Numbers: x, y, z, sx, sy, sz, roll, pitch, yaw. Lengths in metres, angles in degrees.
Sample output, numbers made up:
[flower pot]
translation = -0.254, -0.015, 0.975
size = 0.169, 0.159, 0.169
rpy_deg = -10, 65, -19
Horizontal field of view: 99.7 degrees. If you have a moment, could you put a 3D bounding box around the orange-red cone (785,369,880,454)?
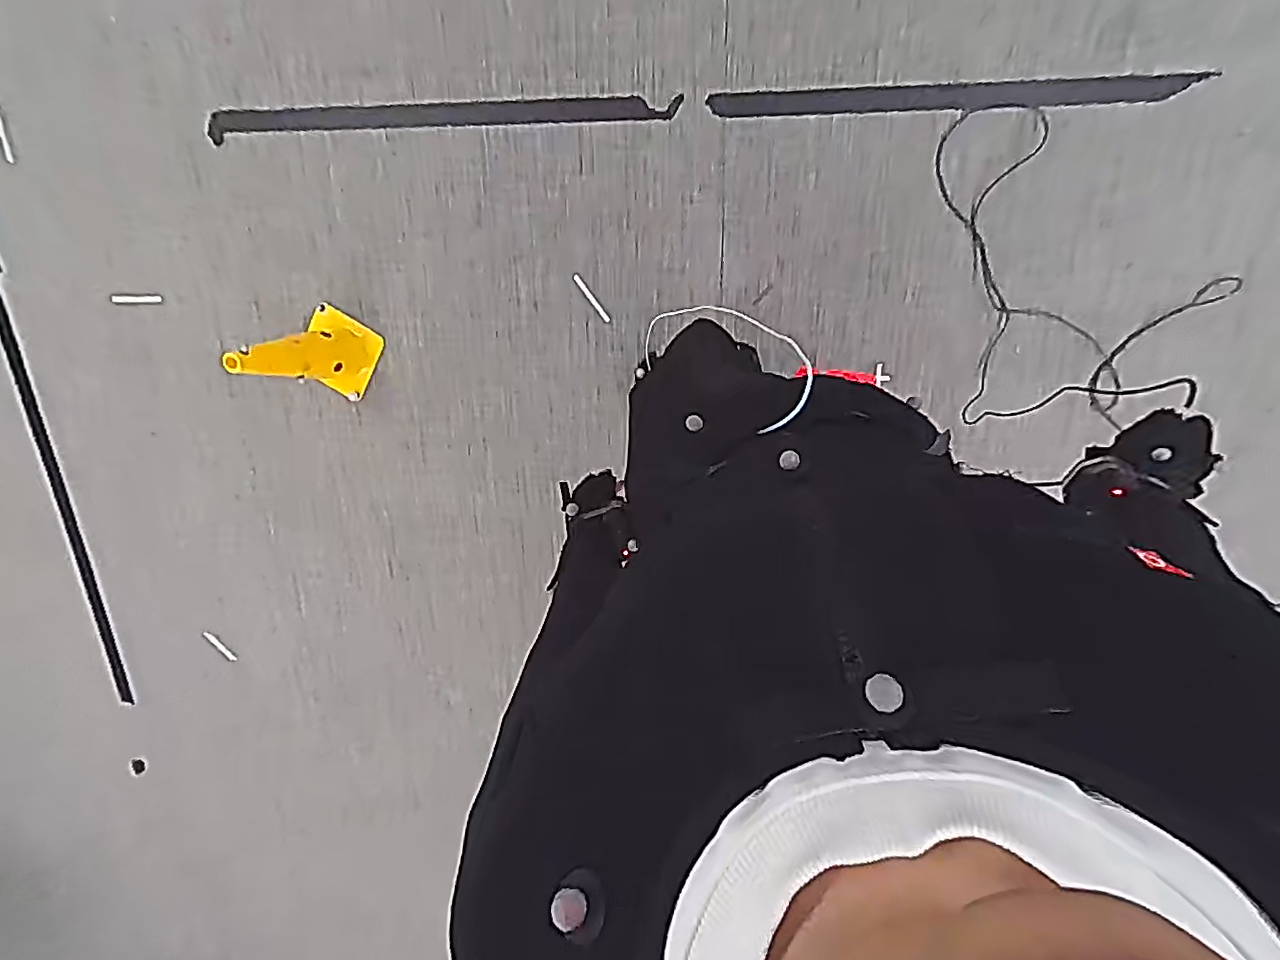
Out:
[orange-red cone]
translation = 0.456, -0.127, 1.192
size = 0.199, 0.360, 0.198
rpy_deg = 9, 106, 5
